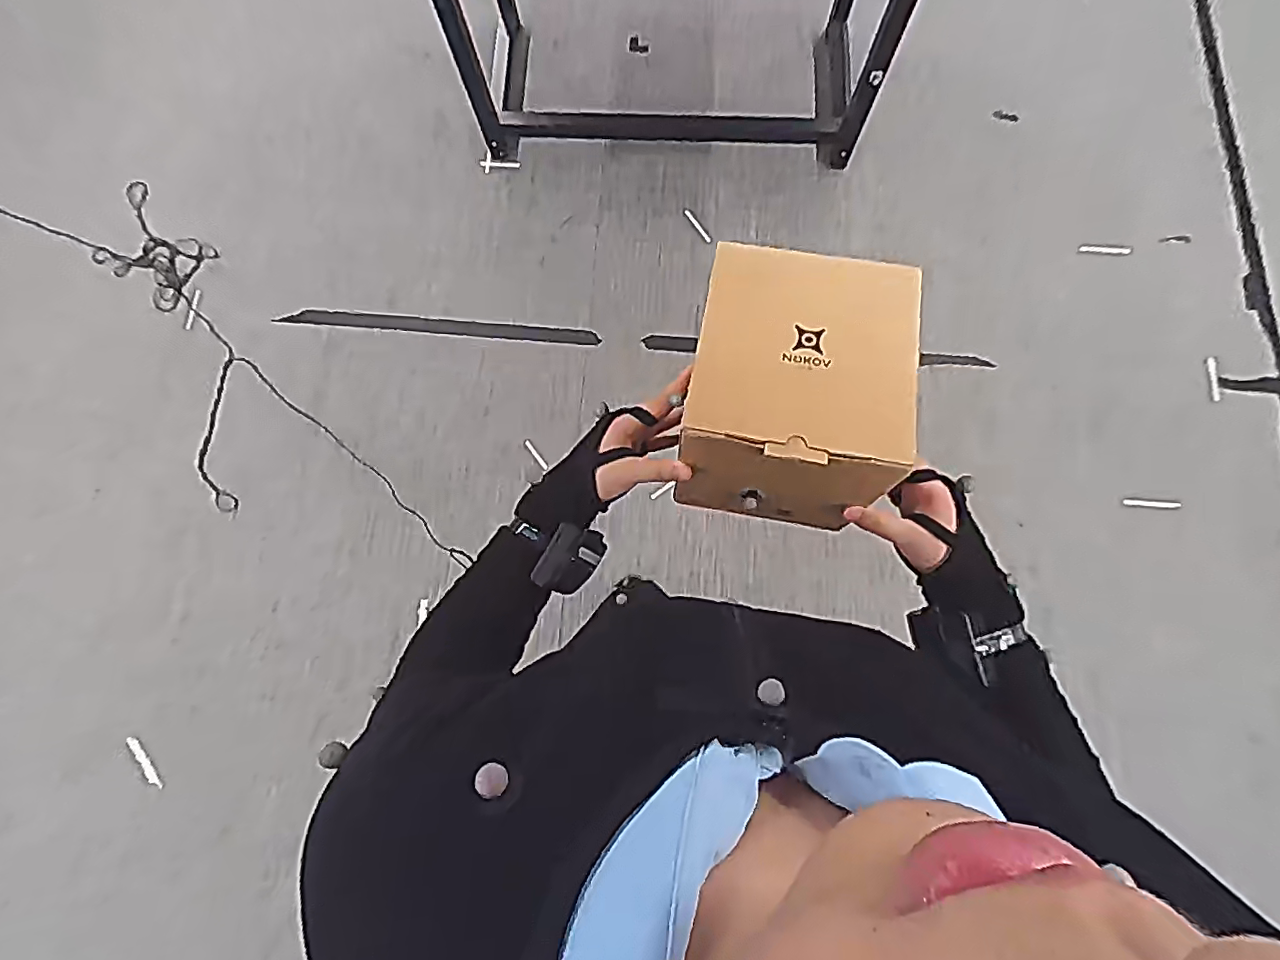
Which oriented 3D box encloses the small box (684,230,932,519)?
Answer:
[{"bbox_3d":[0.132,-0.081,0.475,0.168,0.176,0.179,9,71,5],"label":"small box"}]
